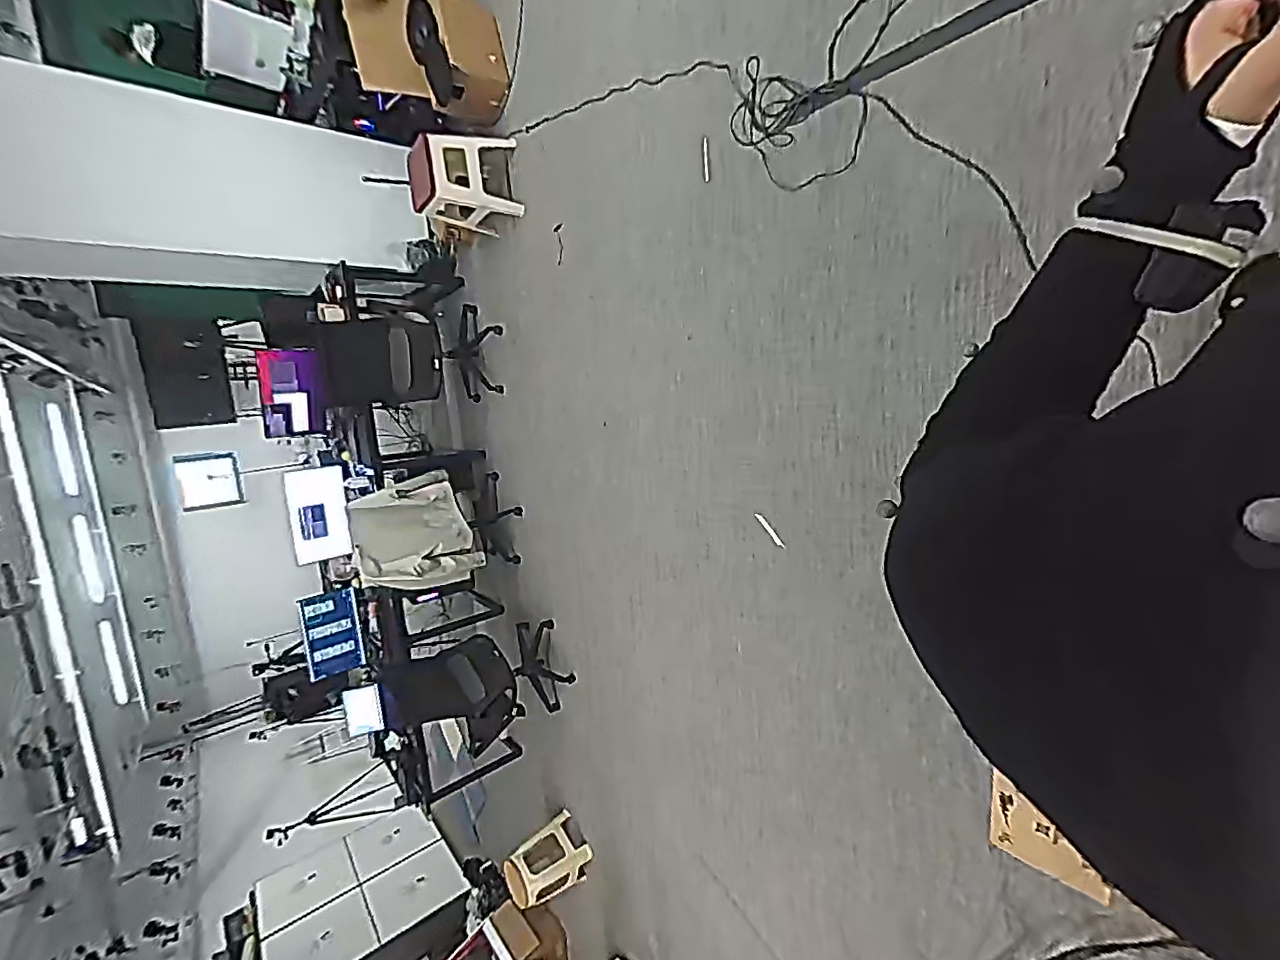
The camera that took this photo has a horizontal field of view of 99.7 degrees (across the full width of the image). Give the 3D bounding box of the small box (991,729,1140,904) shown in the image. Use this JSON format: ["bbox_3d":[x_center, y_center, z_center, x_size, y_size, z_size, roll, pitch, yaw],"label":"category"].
[{"bbox_3d":[0.759,0.580,0.965,0.179,0.176,0.168,9,107,50],"label":"small box"}]
